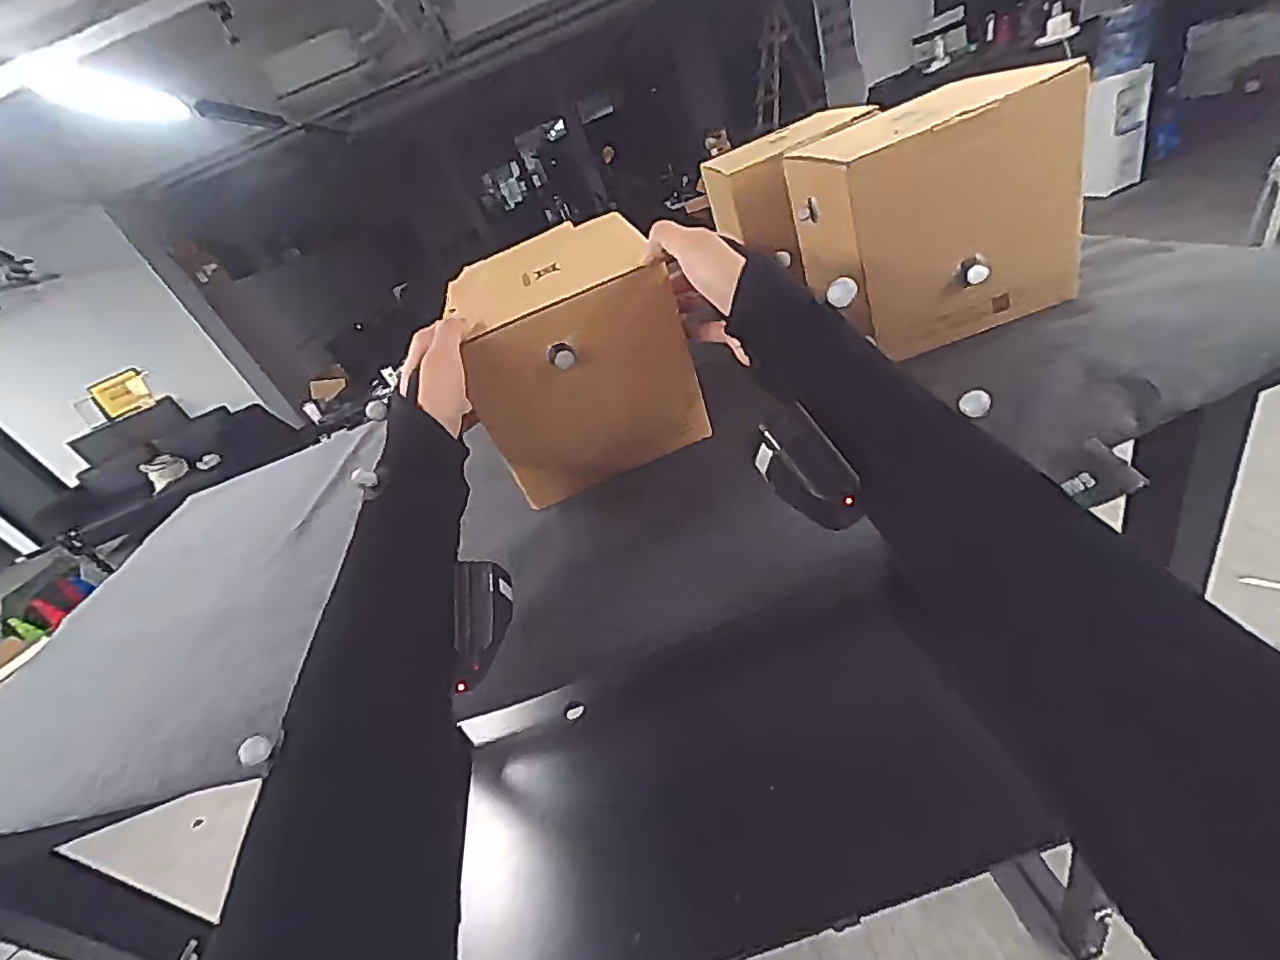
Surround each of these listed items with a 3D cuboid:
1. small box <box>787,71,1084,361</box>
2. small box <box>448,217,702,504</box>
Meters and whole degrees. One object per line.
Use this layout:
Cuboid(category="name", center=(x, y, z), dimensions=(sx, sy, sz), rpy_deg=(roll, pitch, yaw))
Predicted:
Cuboid(category="small box", center=(0.249, -0.230, 0.489), dimensions=(0.168, 0.176, 0.179), rpy_deg=(-19, 31, 9))
Cuboid(category="small box", center=(-0.054, -0.110, 0.499), dimensions=(0.179, 0.176, 0.168), rpy_deg=(-23, 39, 0))
